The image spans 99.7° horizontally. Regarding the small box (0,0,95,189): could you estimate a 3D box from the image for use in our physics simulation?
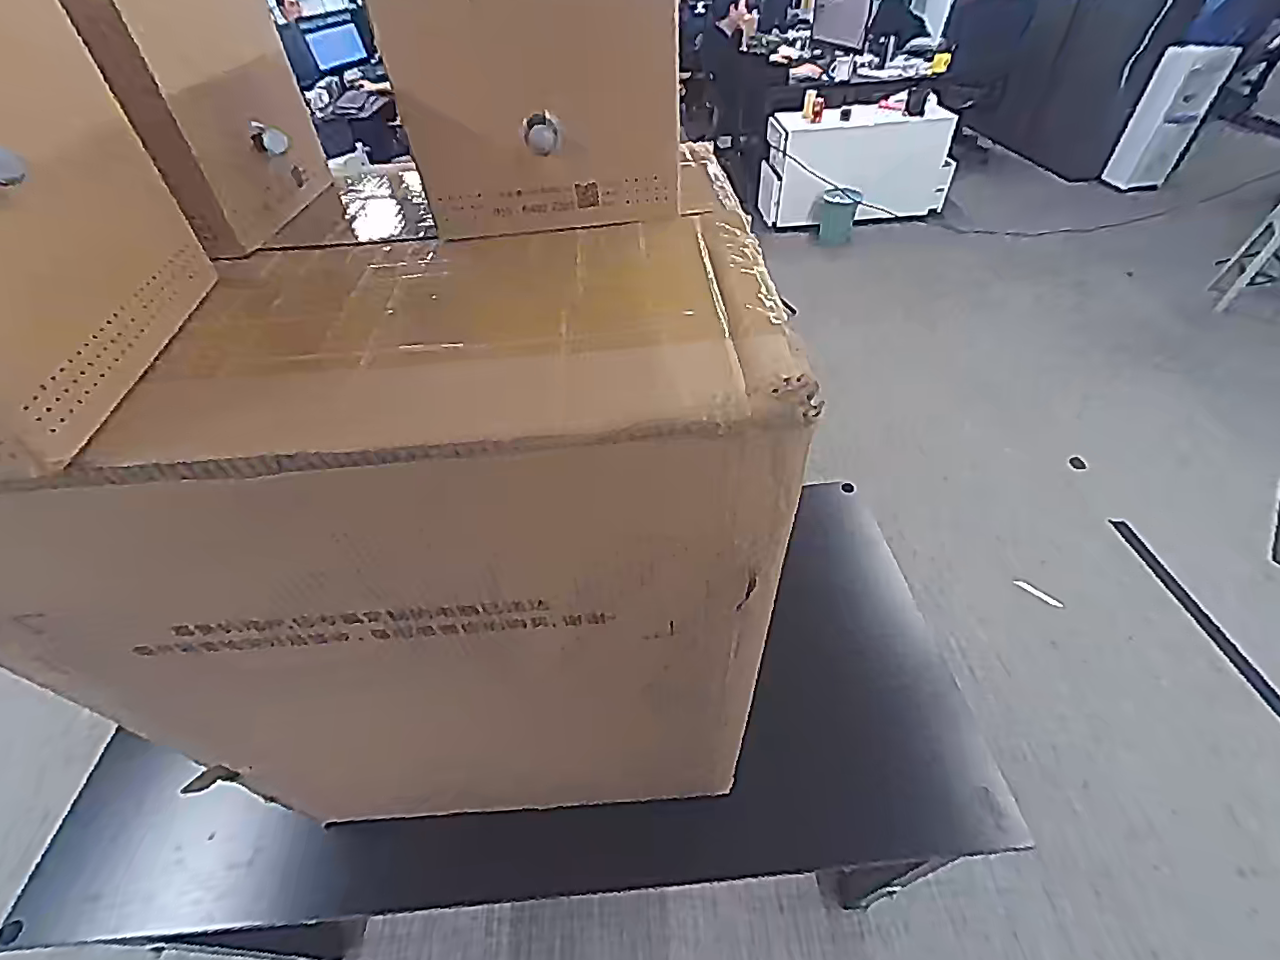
[{"bbox_3d":[-0.312,-0.153,0.134,0.168,0.176,0.179,-5,49,-7],"label":"small box"}]

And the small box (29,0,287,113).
[{"bbox_3d":[-0.334,-0.299,0.276,0.179,0.176,0.168,-3,45,-1],"label":"small box"}]
